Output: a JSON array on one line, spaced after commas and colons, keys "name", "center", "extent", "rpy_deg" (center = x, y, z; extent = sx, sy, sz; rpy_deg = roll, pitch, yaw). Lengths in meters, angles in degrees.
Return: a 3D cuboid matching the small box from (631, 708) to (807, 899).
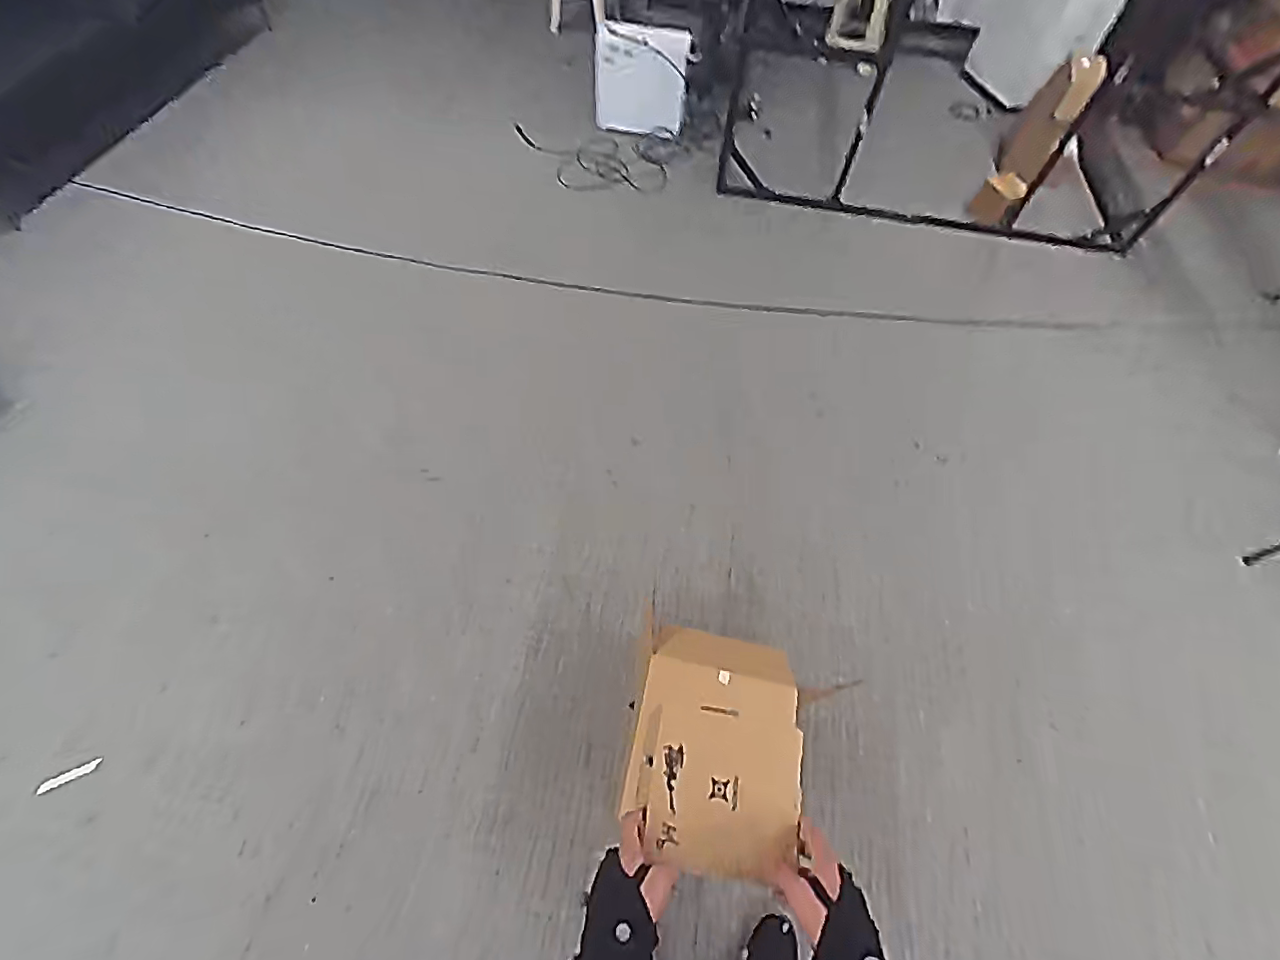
[{"name": "small box", "center": [0.093, 0.393, 0.681], "extent": [0.179, 0.176, 0.168], "rpy_deg": [11, 63, 0]}]
